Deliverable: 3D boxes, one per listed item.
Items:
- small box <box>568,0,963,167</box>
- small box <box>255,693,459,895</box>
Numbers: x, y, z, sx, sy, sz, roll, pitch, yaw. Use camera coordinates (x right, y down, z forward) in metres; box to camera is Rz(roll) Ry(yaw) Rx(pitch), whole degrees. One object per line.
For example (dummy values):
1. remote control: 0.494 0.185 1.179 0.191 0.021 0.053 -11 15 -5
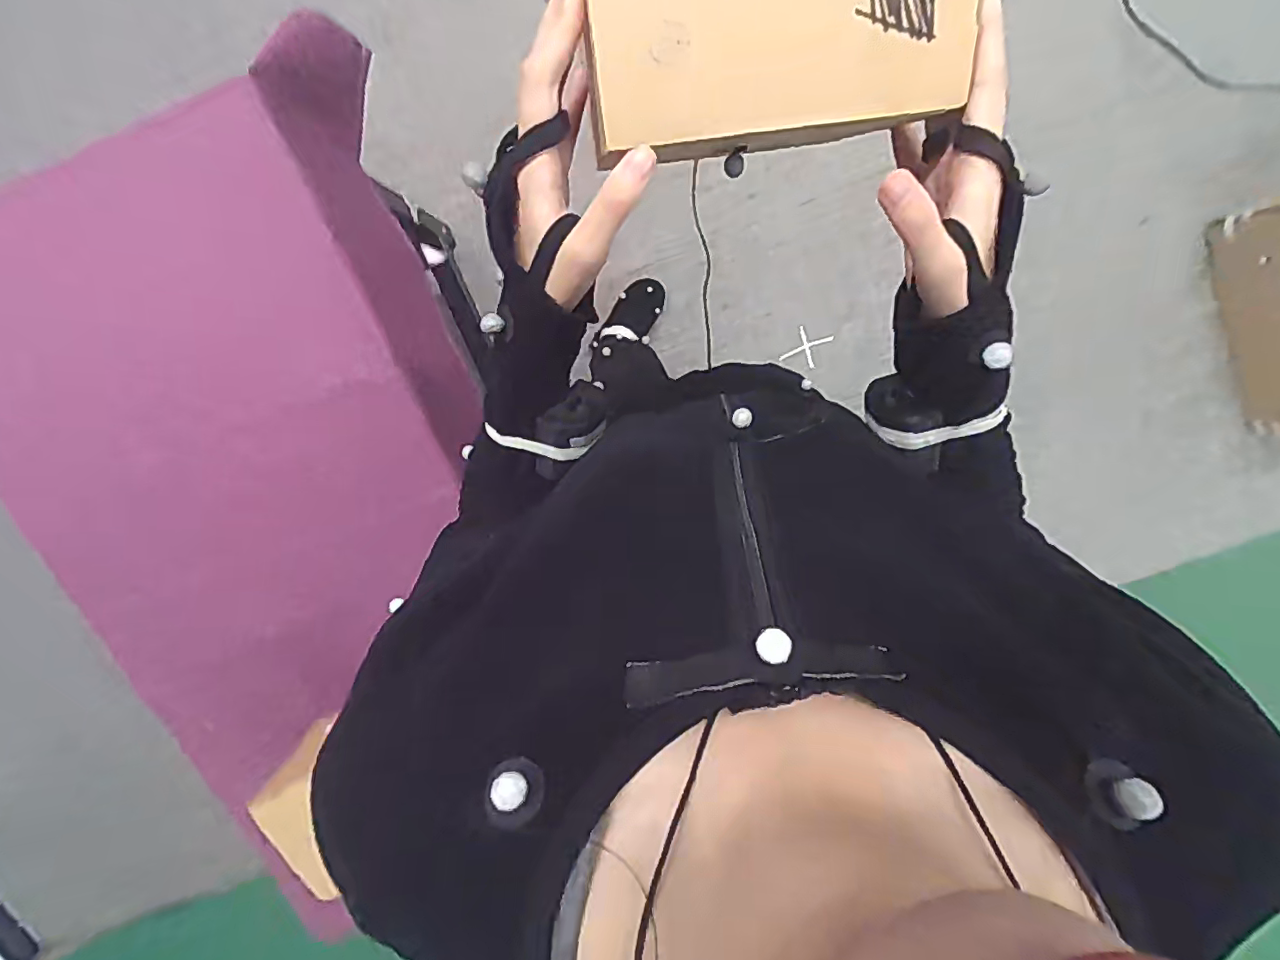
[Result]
1. small box: 0.049 -0.273 0.294 0.179 0.176 0.168 -7 118 -2
2. small box: -0.398 0.444 0.795 0.168 0.176 0.179 -23 103 5
